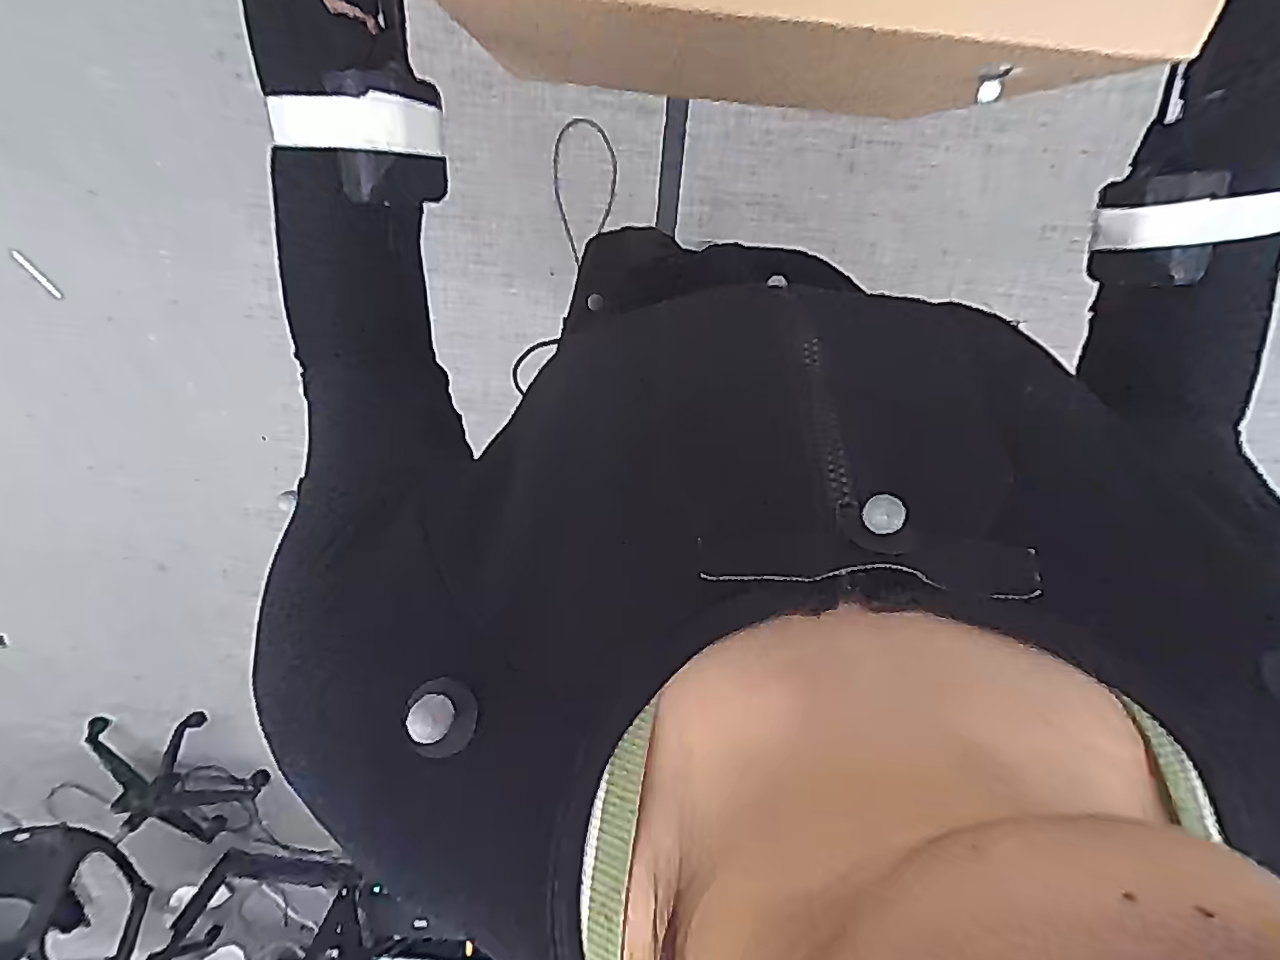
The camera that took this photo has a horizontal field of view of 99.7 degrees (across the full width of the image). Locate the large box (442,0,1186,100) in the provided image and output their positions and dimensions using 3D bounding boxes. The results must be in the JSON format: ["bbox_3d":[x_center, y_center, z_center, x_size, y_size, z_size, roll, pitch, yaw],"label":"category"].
[{"bbox_3d":[0.093,-0.445,0.333,0.408,0.320,0.320,3,119,-4],"label":"large box"}]
